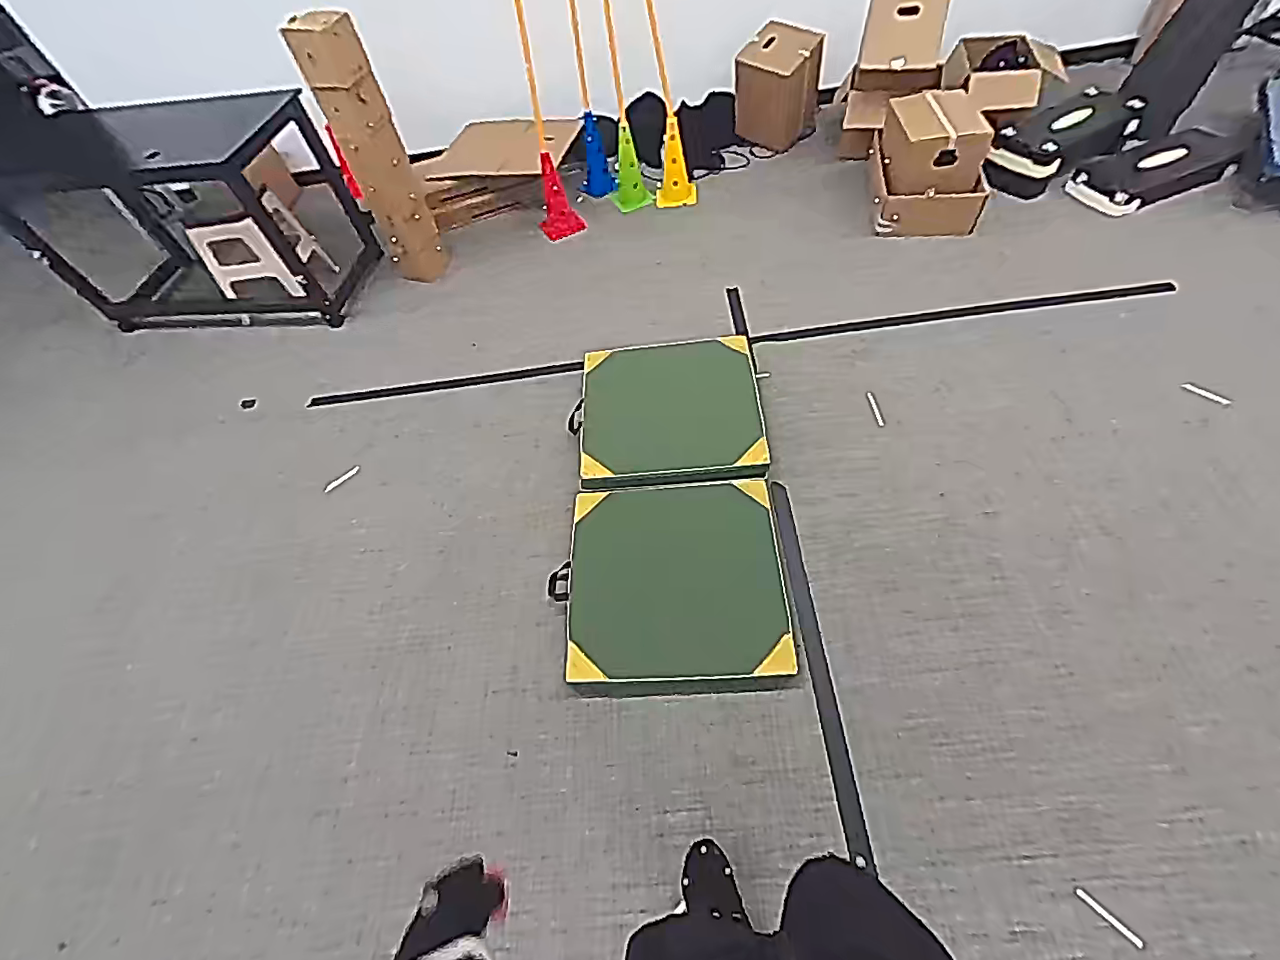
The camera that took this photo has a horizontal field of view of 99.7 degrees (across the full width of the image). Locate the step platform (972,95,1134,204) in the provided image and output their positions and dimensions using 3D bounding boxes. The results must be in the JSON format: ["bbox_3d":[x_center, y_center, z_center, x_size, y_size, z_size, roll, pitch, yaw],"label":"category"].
[{"bbox_3d":[1.892,-1.528,2.482,0.684,0.204,0.286,-31,57,-12],"label":"step platform"}]
